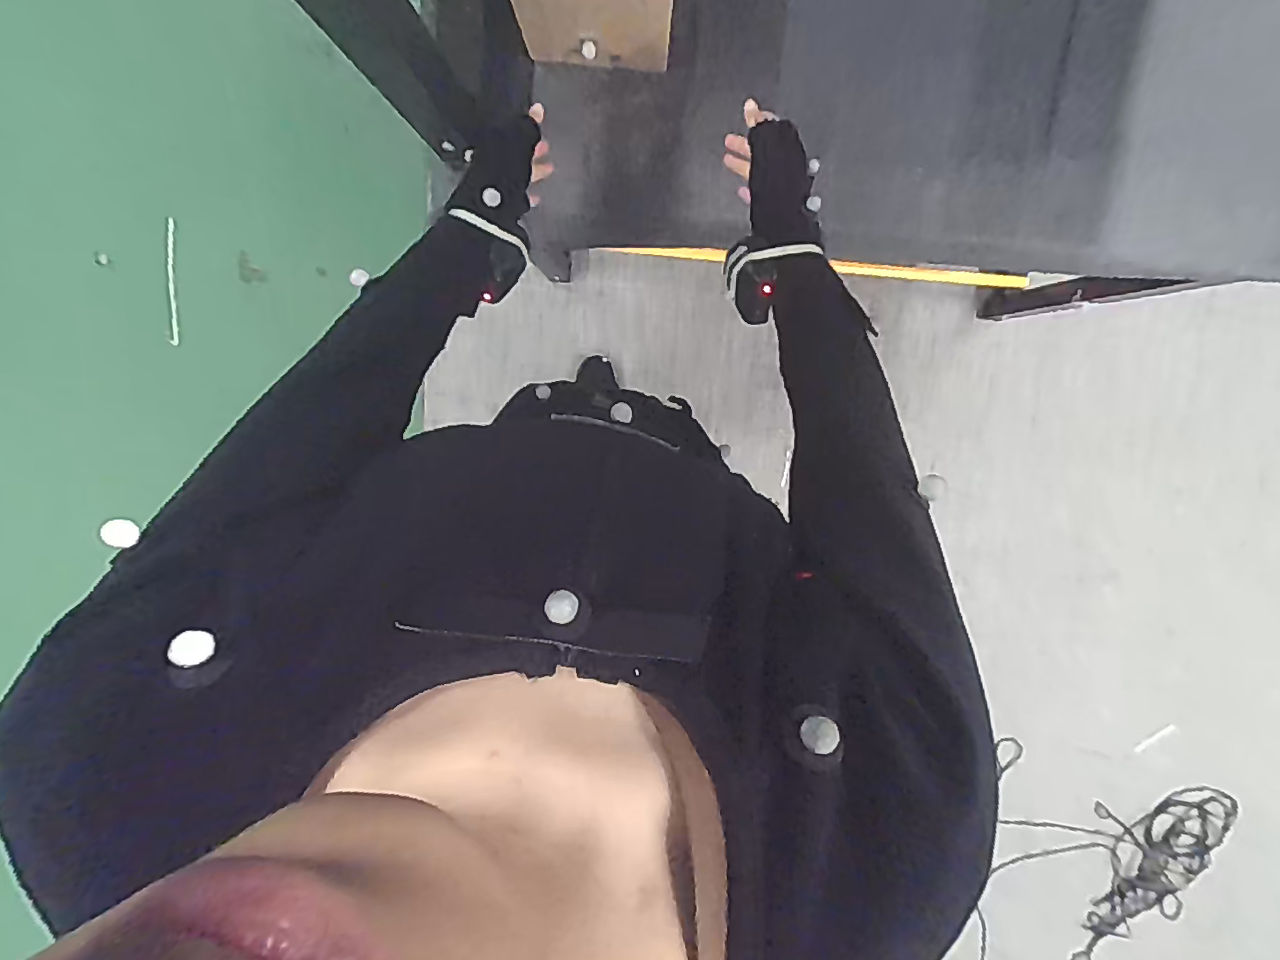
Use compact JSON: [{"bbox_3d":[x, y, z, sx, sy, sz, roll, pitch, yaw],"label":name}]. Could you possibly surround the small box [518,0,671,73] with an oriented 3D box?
[{"bbox_3d":[-0.044,-0.573,0.561,0.168,0.176,0.179,5,101,-1],"label":"small box"}]
